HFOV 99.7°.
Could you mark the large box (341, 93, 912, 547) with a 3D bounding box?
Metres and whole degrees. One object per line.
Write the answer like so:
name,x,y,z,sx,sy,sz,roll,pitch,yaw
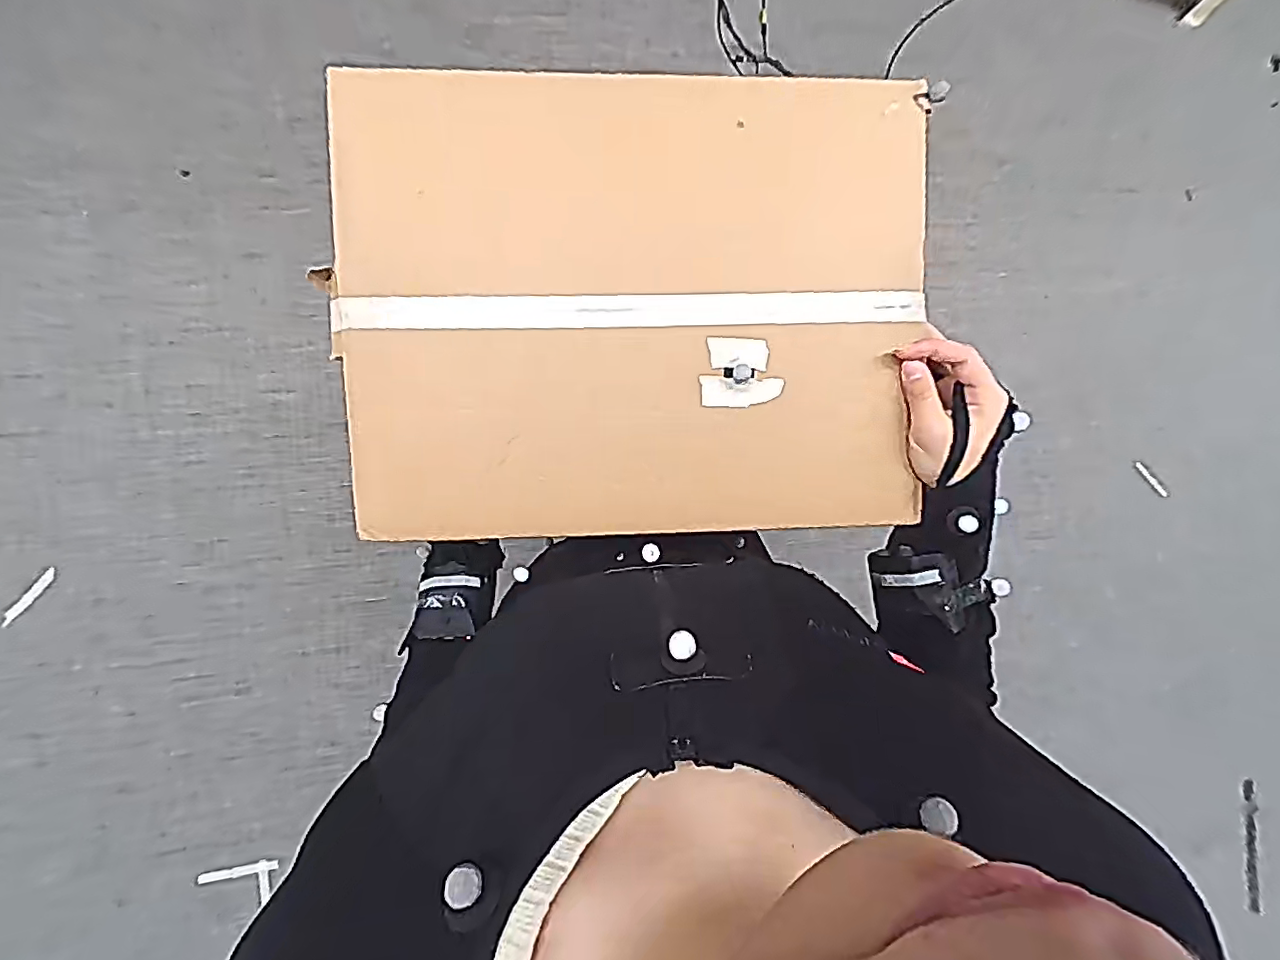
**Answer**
large box,-0.011,-0.125,0.534,0.408,0.320,0.320,-3,95,-5
